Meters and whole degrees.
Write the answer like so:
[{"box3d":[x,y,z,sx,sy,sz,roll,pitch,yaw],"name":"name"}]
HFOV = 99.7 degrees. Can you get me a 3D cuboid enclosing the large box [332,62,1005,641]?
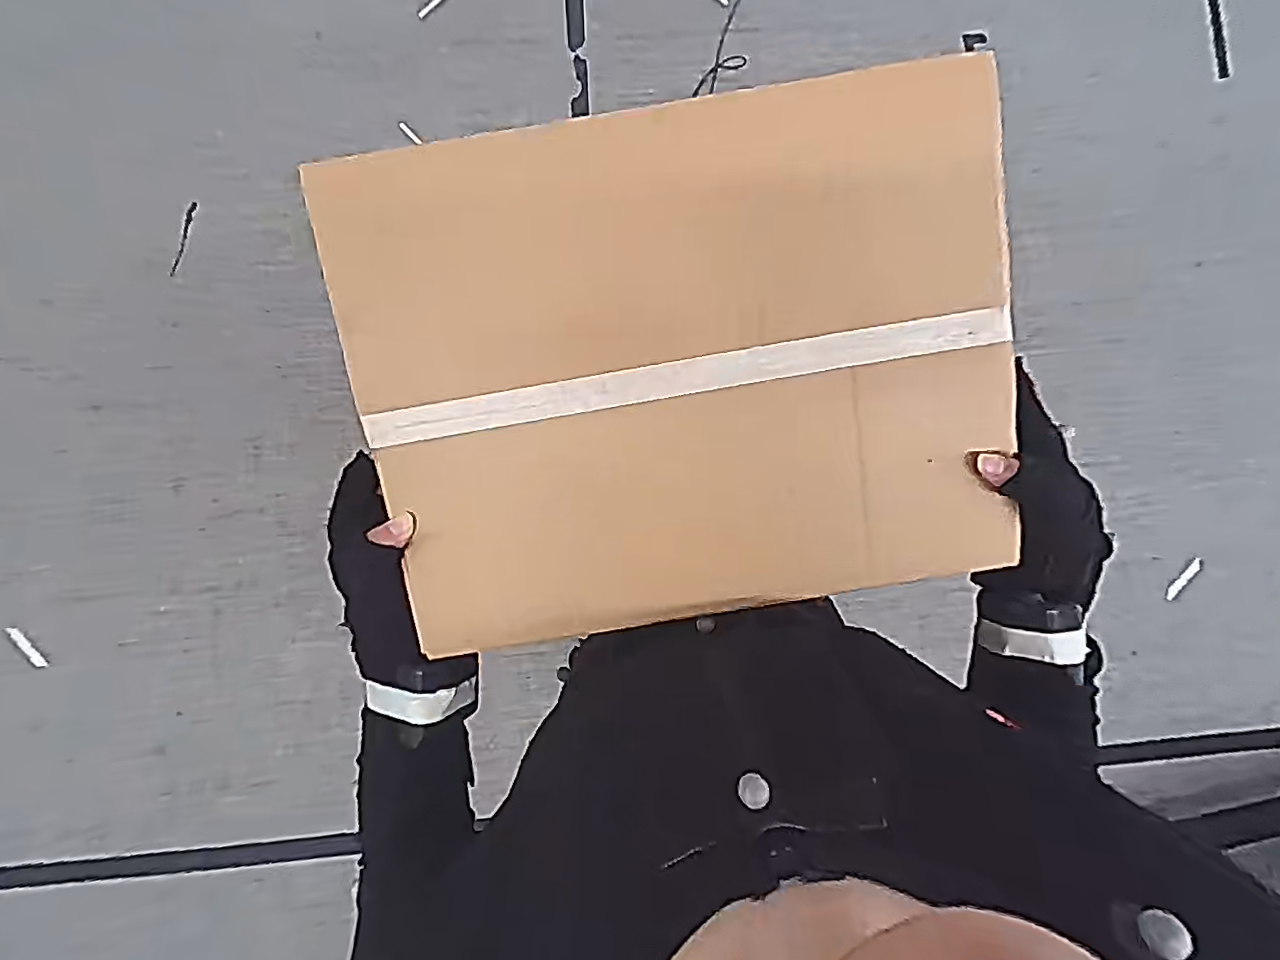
[{"box3d":[0.027,-0.092,0.495,0.408,0.320,0.320,-9,100,0],"name":"large box"}]
